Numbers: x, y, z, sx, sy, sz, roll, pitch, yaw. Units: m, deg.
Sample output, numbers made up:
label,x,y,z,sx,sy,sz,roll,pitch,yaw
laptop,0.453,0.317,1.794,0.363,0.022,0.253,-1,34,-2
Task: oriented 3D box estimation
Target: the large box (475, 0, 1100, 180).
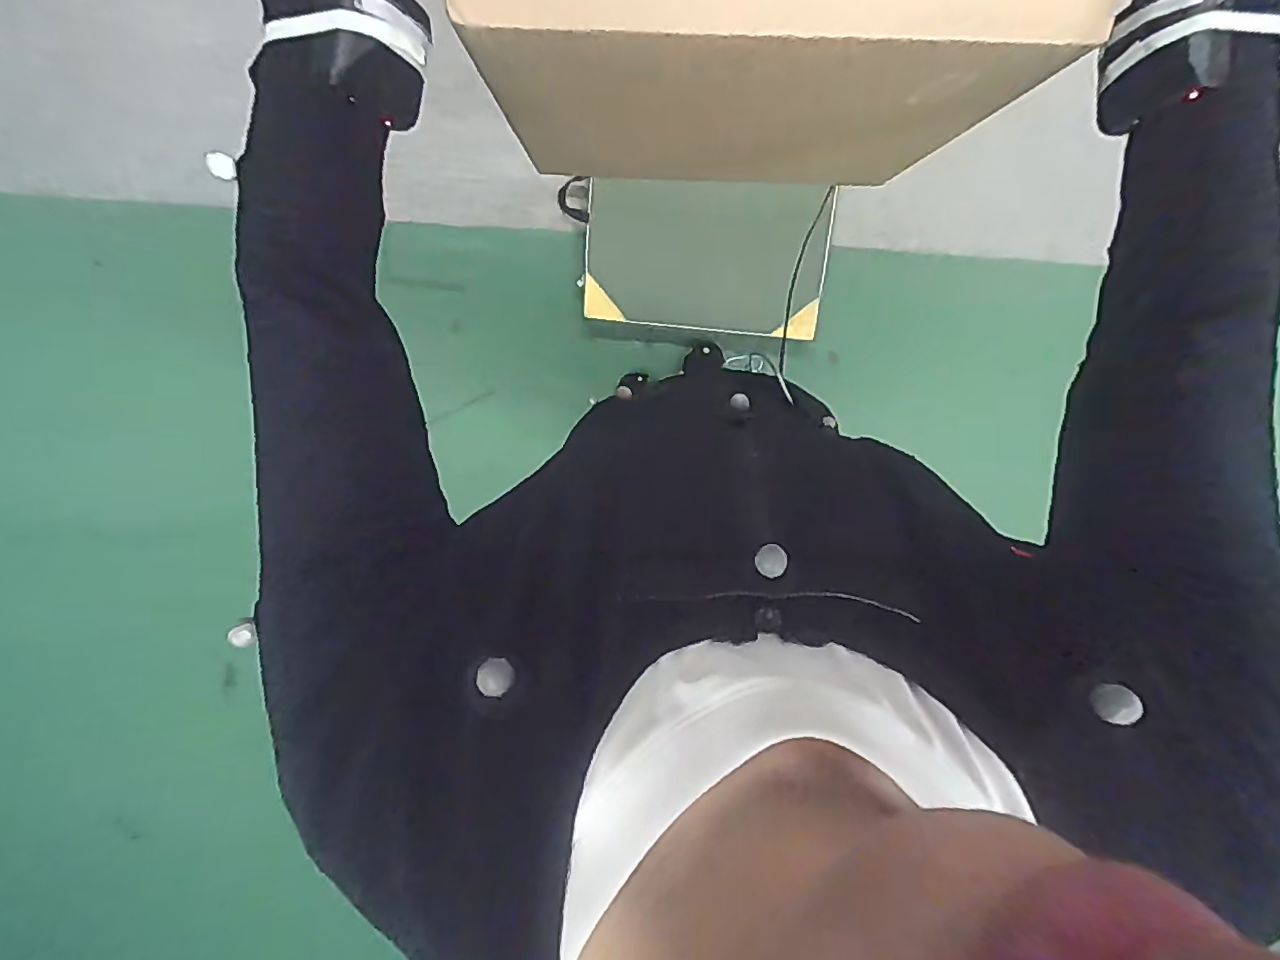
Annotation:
label,x,y,z,sx,sy,sz,roll,pitch,yaw
large box,0.090,-0.464,0.450,0.408,0.320,0.320,1,105,-2
